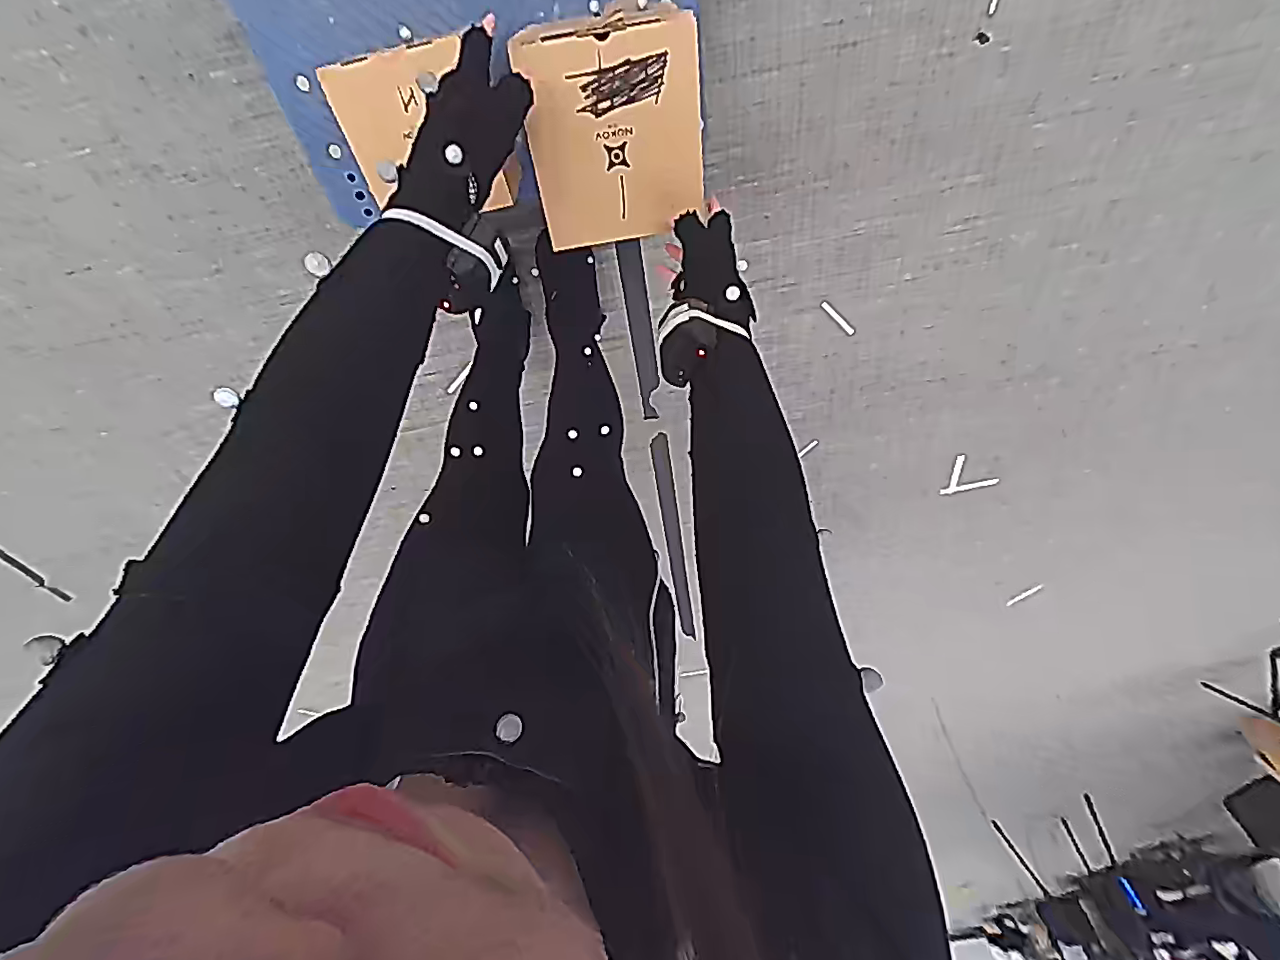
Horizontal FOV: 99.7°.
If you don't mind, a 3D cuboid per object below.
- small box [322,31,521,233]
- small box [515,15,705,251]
[{"bbox_3d":[-0.261,-0.450,0.700,0.168,0.176,0.179,-11,132,3],"label":"small box"},{"bbox_3d":[-0.028,-0.372,0.576,0.168,0.176,0.179,-9,133,1],"label":"small box"}]
